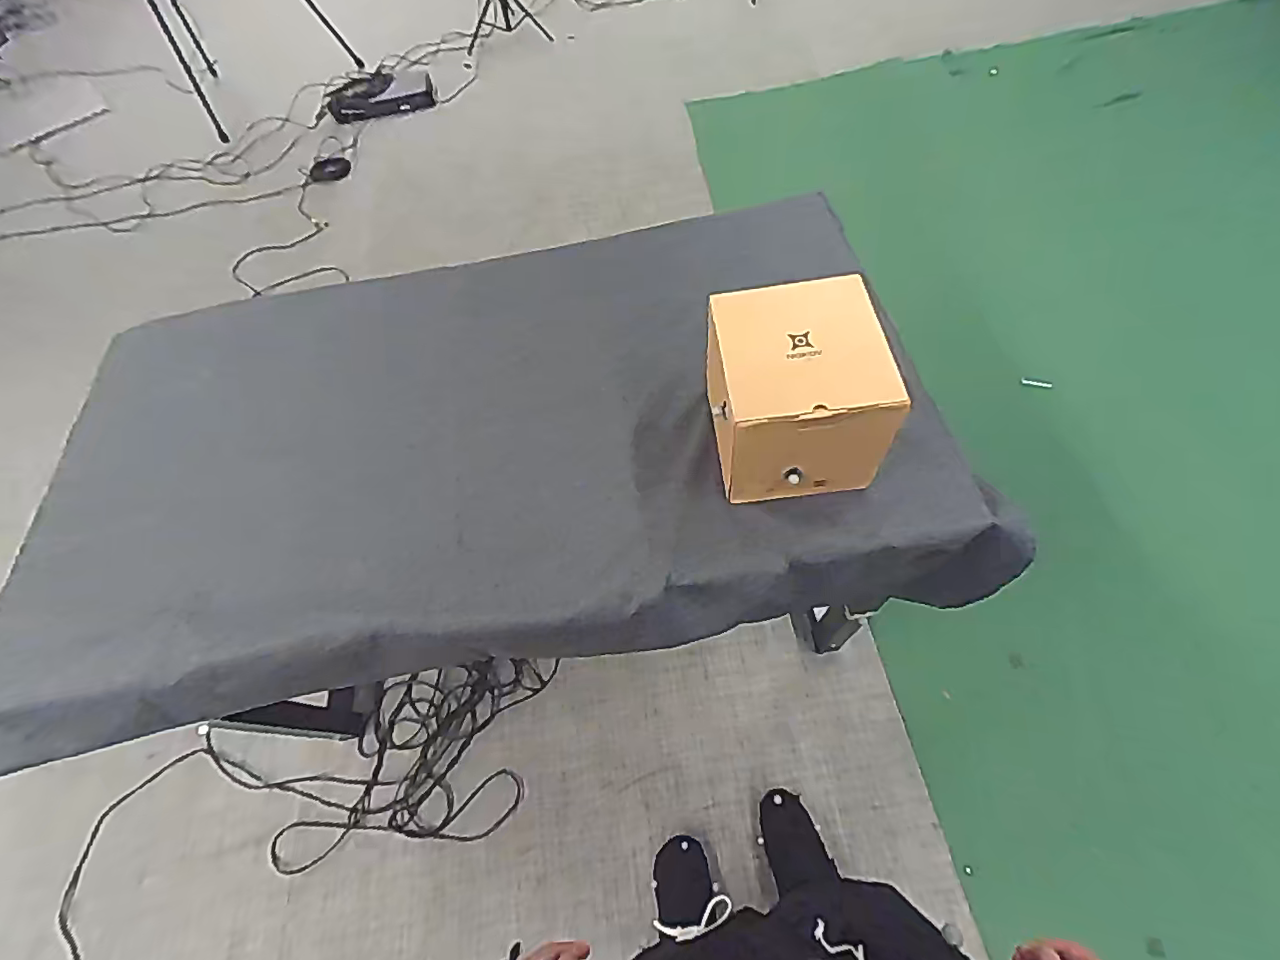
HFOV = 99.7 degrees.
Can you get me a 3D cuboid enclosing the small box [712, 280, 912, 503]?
[{"bbox_3d":[0.174,-0.094,0.615,0.168,0.176,0.179,-7,60,3],"label":"small box"}]
